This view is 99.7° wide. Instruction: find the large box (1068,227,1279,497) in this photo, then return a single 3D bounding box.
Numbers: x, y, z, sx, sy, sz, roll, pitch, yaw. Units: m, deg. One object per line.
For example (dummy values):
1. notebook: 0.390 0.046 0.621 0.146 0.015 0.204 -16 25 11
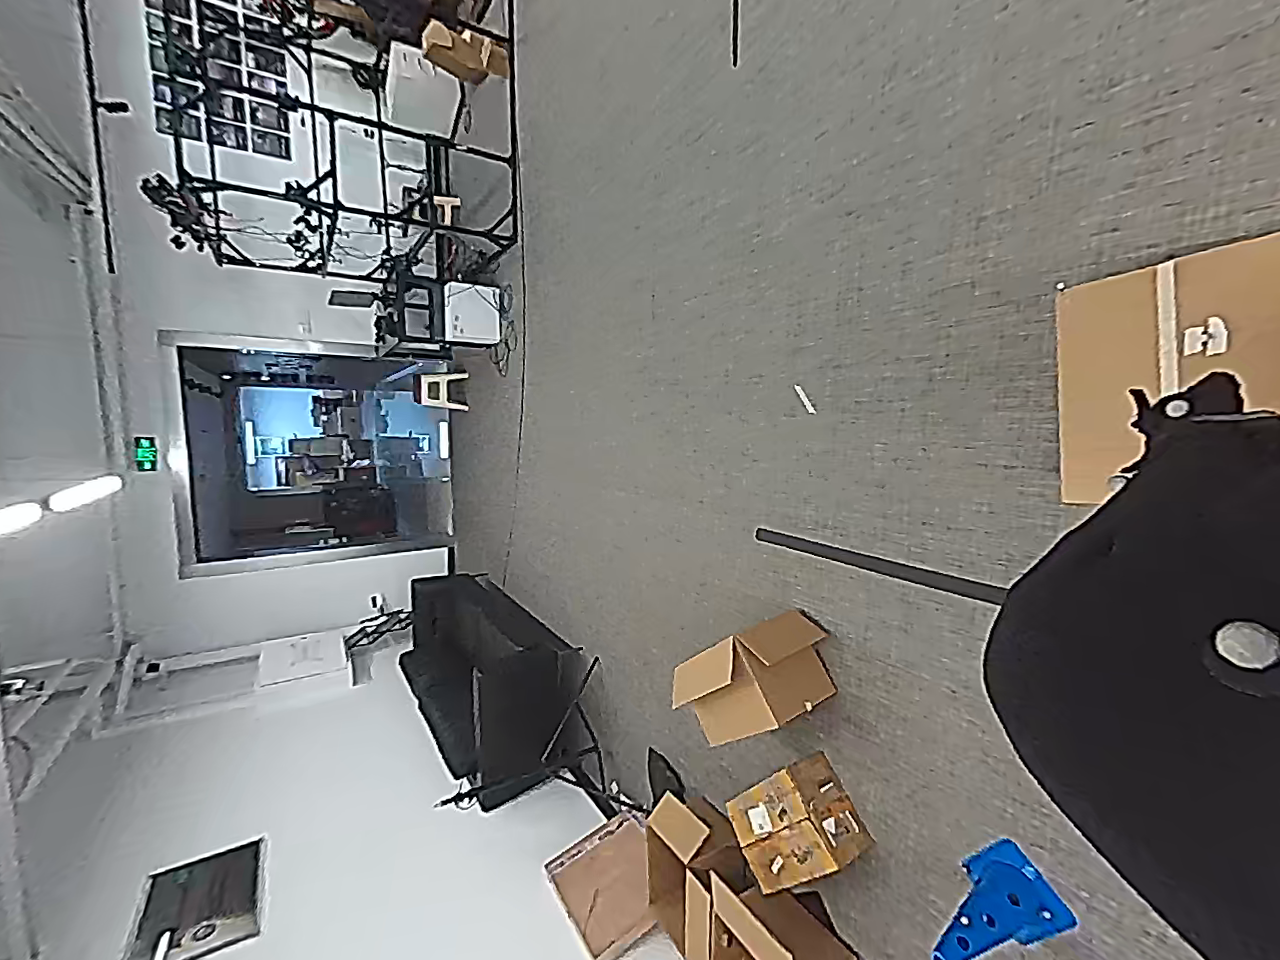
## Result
1. large box: 1.016 -0.174 0.958 0.320 0.320 0.408 -1 91 59
